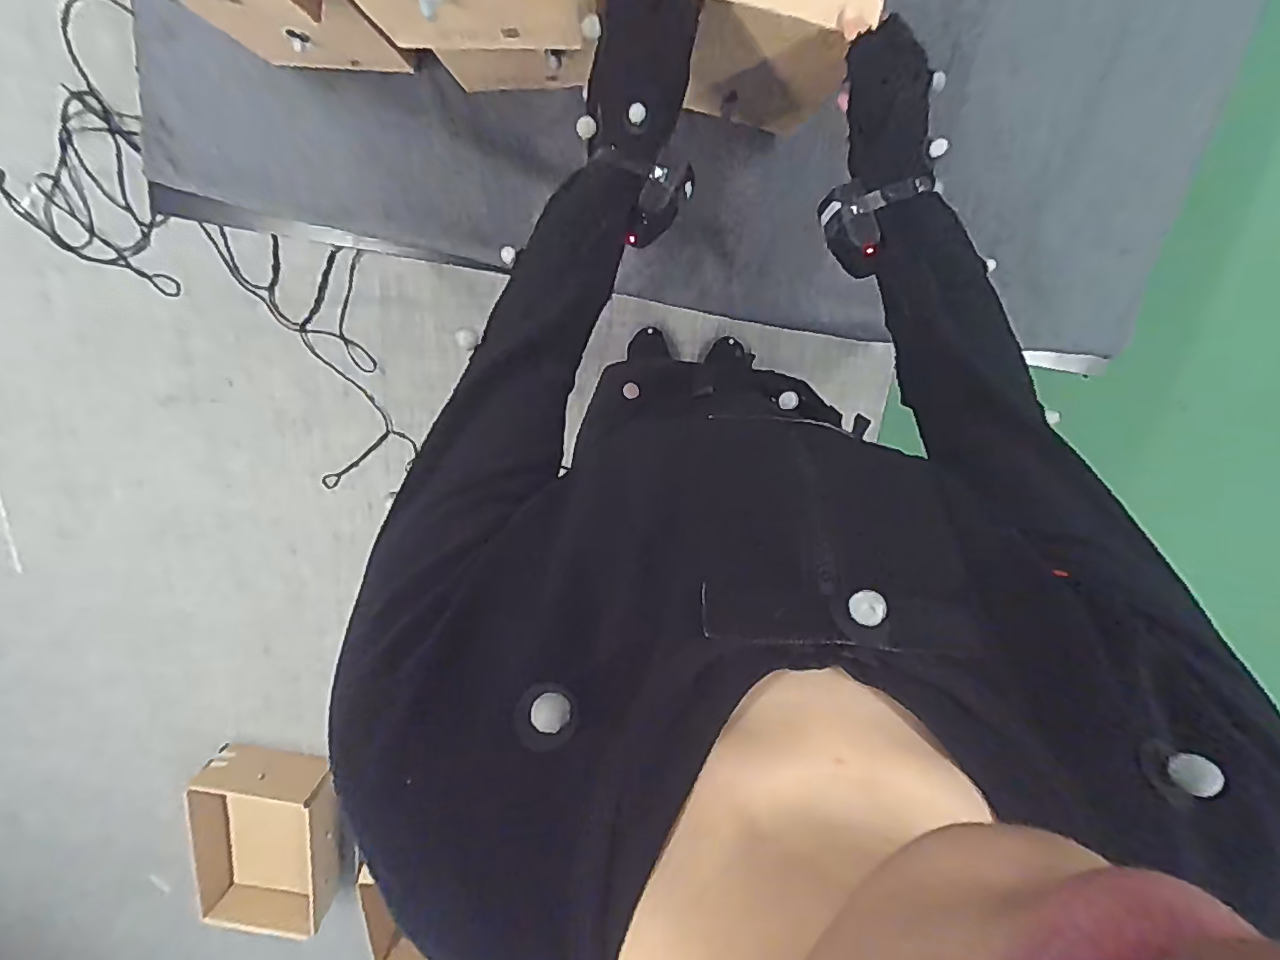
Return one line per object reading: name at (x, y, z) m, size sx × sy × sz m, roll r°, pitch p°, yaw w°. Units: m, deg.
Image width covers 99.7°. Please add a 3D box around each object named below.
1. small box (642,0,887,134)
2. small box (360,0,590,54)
small box at (0.110, -0.449, 0.486) m, size 0.179 × 0.176 × 0.168 m, roll 10°, pitch 96°, yaw -9°
small box at (-0.124, -0.424, 0.366) m, size 0.168 × 0.176 × 0.179 m, roll 1°, pitch 106°, yaw 1°
